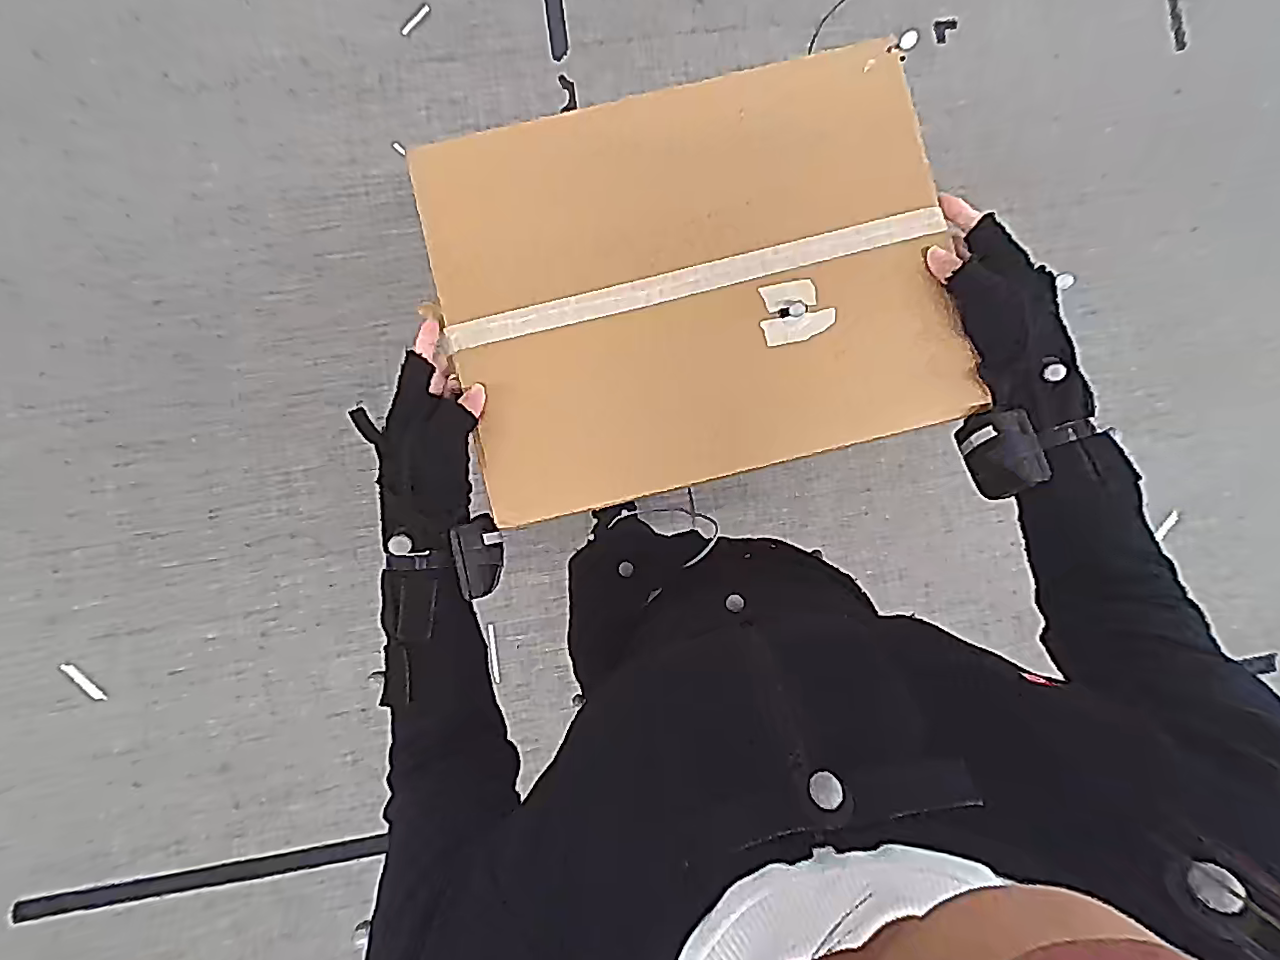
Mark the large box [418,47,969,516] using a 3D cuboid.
[{"bbox_3d":[0.040,-0.162,0.592,0.408,0.320,0.320,-14,89,-2],"label":"large box"}]
